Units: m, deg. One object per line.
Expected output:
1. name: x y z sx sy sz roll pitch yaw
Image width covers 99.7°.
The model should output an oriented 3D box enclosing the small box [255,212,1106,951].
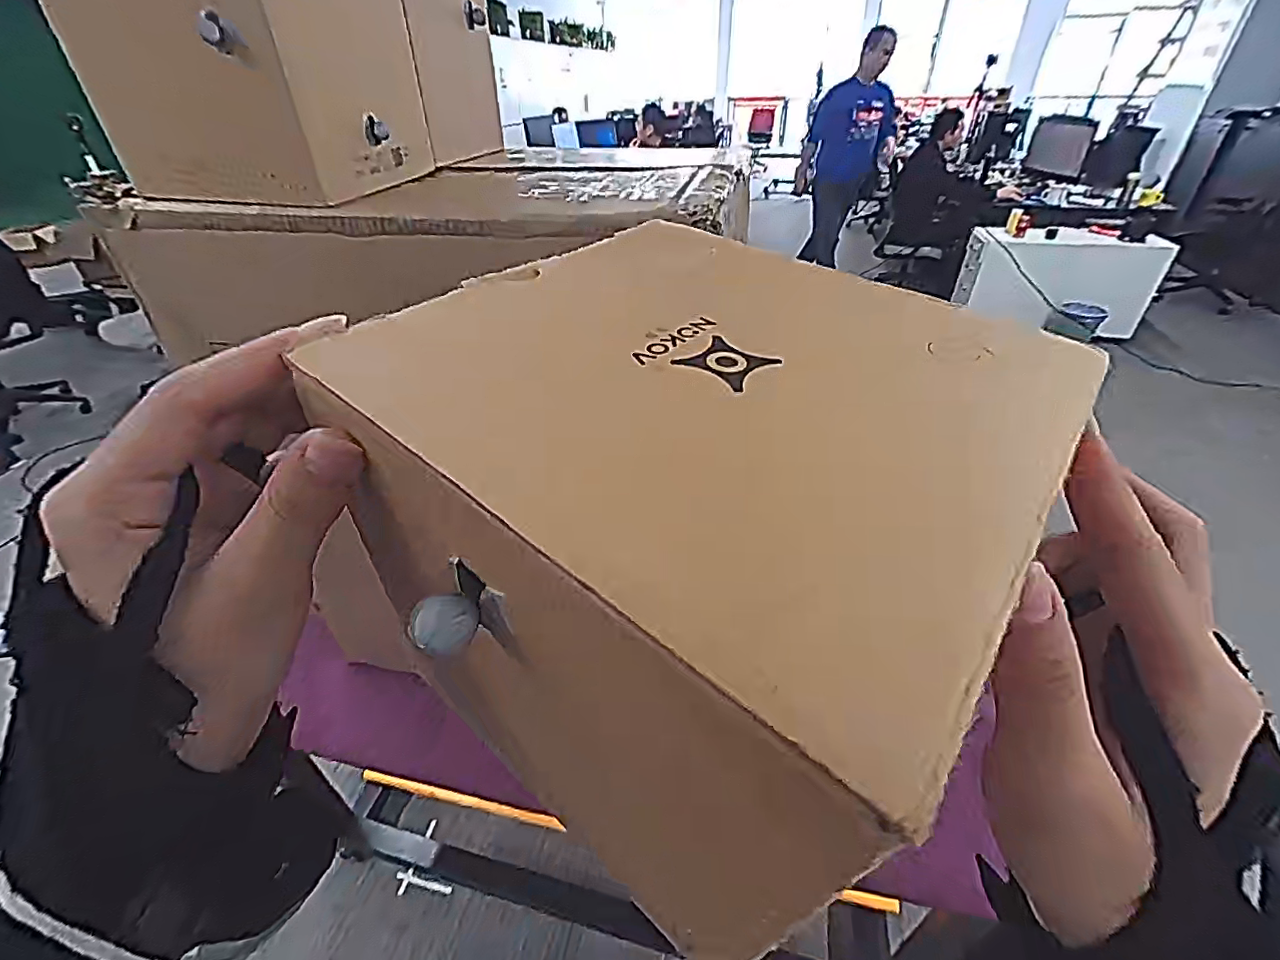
1. small box: 0.014 0.024 0.201 0.179 0.176 0.168 30 48 28

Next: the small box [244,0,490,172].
1. small box: -0.274 -0.436 0.573 0.168 0.176 0.179 7 37 10
